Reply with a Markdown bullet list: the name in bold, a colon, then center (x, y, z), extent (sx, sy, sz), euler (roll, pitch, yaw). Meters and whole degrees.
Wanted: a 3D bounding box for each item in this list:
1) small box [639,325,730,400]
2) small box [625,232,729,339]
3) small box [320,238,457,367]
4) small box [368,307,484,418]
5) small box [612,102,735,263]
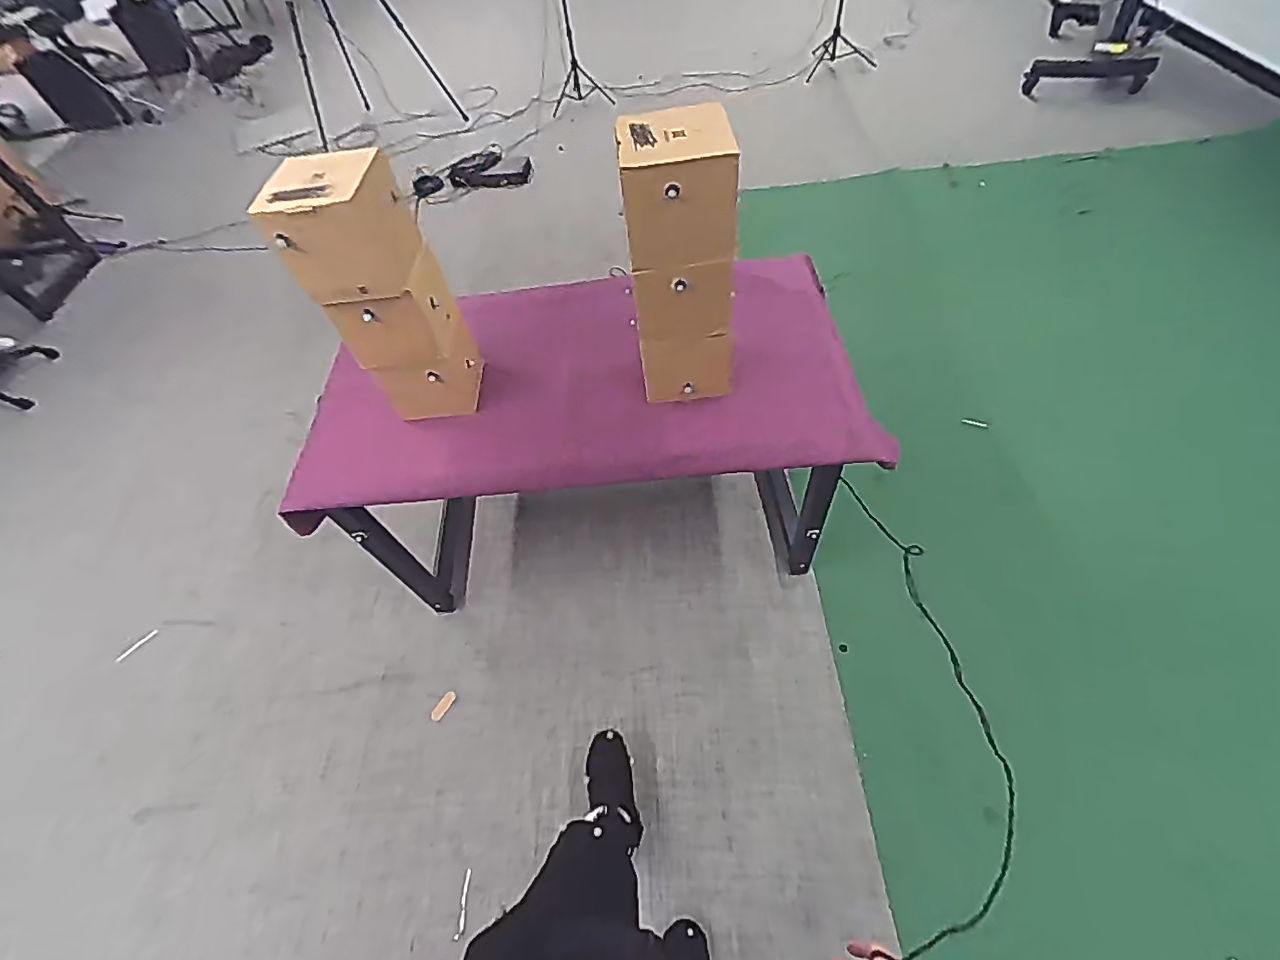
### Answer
- **small box**: center (0.089, -0.290, 1.148), extent (0.179, 0.176, 0.168), euler (-7, 55, 3)
- **small box**: center (0.072, -0.383, 1.014), extent (0.179, 0.176, 0.168), euler (-6, 56, 4)
- **small box**: center (-0.479, -0.343, 1.065), extent (0.179, 0.176, 0.168), euler (-6, 56, 4)
- **small box**: center (-0.462, -0.256, 1.200), extent (0.179, 0.176, 0.168), euler (-5, 55, 4)
- **small box**: center (0.055, -0.476, 0.881), extent (0.179, 0.176, 0.168), euler (-7, 57, 3)
